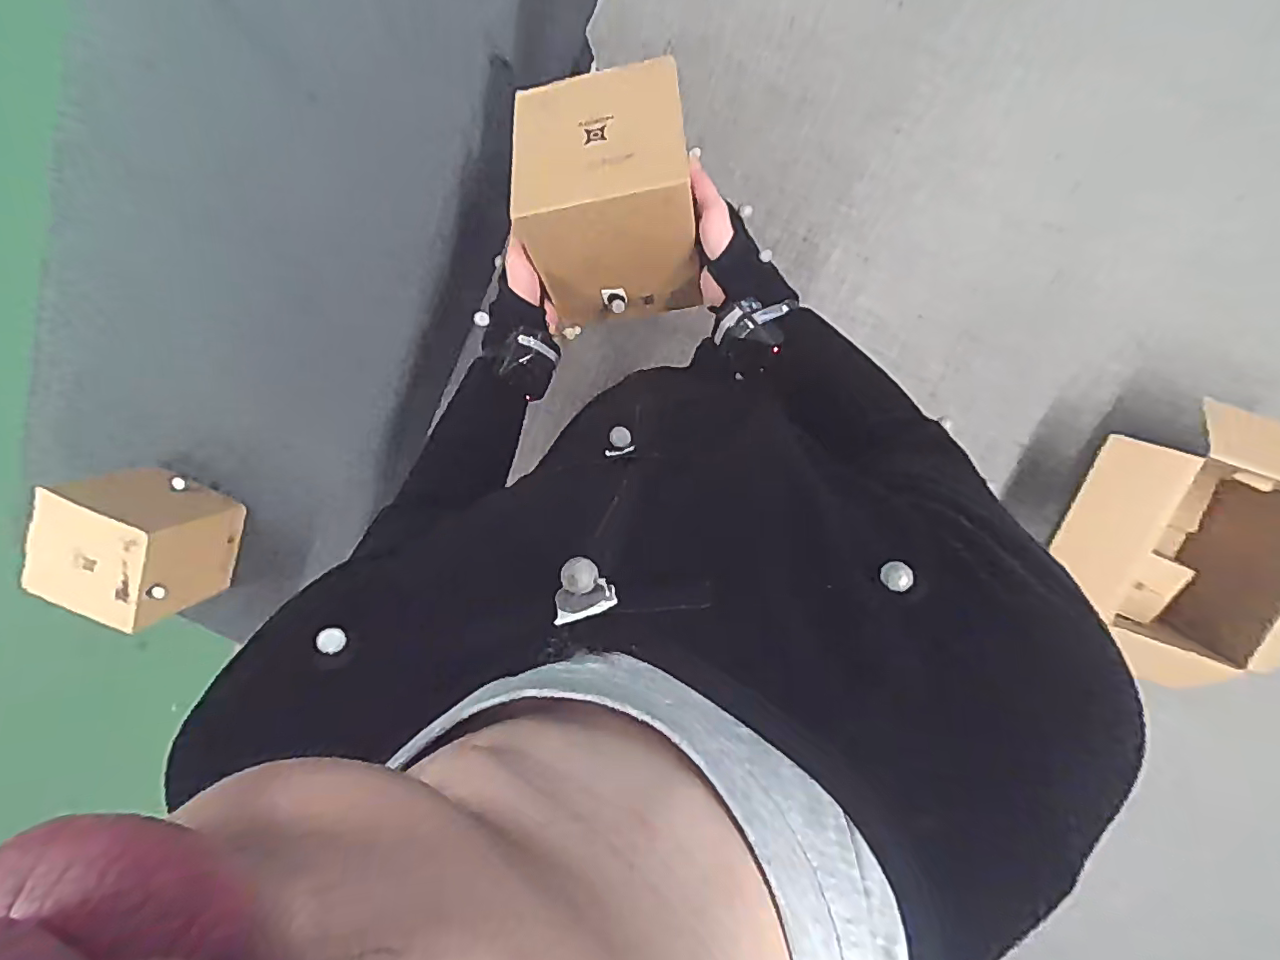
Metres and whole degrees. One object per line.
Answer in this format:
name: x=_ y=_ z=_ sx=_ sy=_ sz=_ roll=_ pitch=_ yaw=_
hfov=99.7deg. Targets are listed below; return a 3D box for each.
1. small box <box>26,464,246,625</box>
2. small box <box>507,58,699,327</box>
small box: x=-0.766 y=0.086 z=0.834 sx=0.179 sy=0.176 sz=0.168 roll=23 pitch=105 yaw=1
small box: x=-0.030 y=-0.294 z=0.579 sx=0.168 sy=0.176 sz=0.179 roll=-7 pitch=69 yaw=8
